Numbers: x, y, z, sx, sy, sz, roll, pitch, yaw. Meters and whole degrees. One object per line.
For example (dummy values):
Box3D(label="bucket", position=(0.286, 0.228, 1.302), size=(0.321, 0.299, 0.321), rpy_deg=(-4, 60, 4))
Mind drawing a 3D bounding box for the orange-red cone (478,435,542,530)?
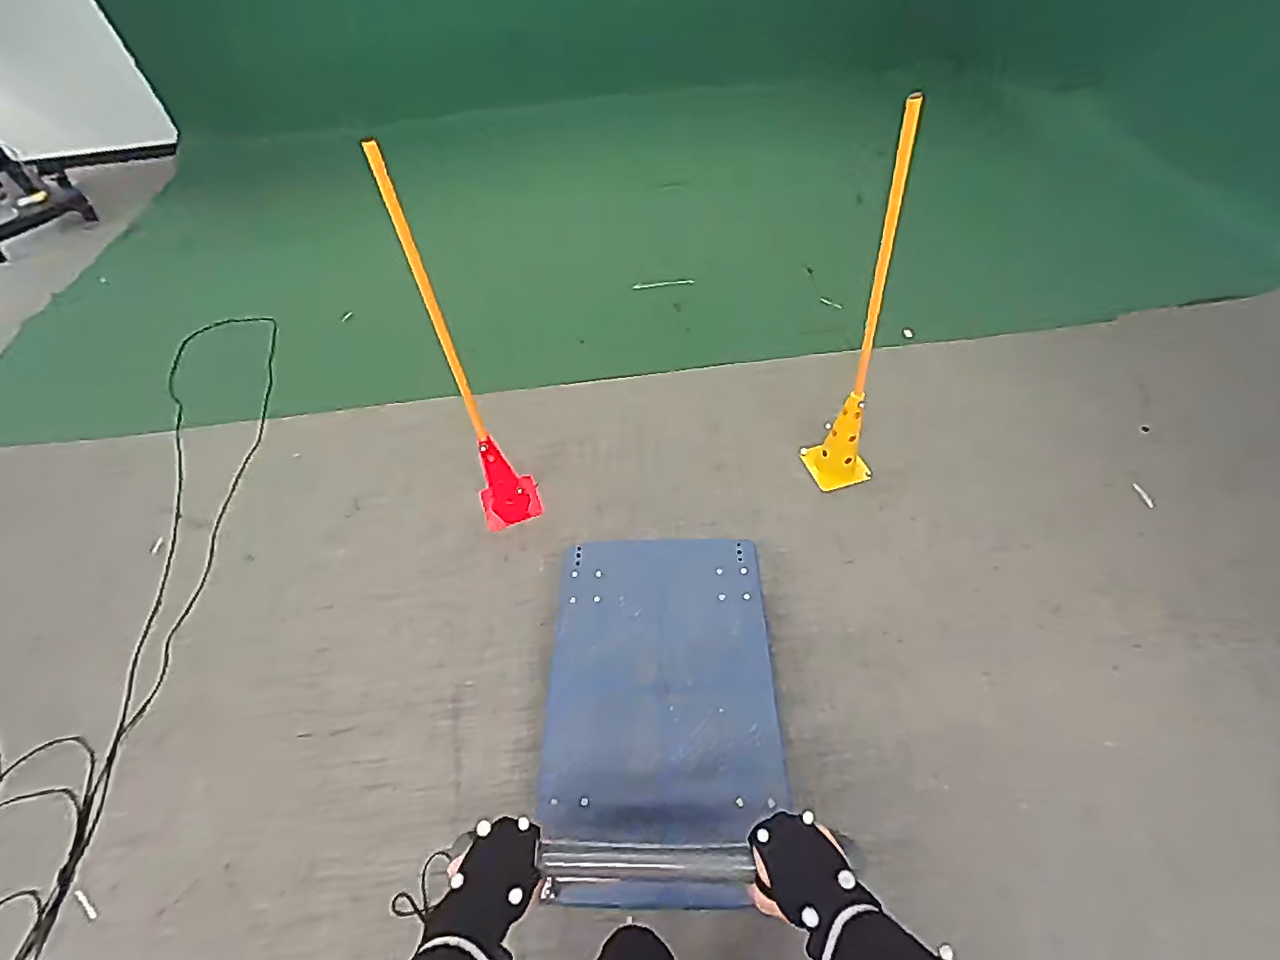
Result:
Box3D(label="orange-red cone", position=(-0.478, -0.019, 1.827), size=(0.199, 0.360, 0.198), rpy_deg=(-19, 53, -8))
